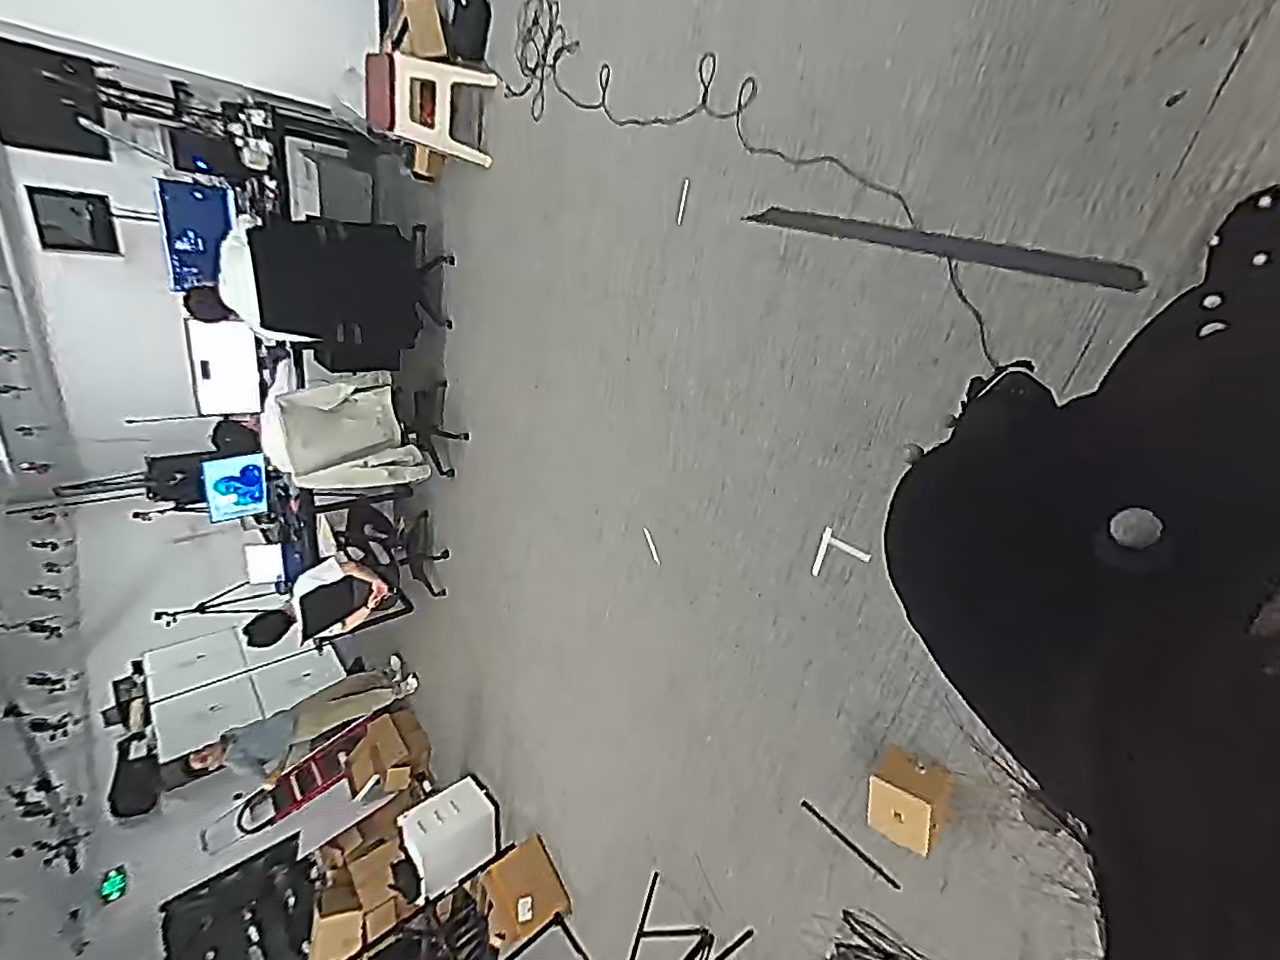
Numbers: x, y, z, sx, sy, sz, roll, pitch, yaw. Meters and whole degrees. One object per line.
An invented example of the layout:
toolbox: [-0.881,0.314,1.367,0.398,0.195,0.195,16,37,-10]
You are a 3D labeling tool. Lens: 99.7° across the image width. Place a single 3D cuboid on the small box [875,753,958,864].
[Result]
small box: [0.792,0.929,1.546,0.168,0.176,0.179,9,106,45]
